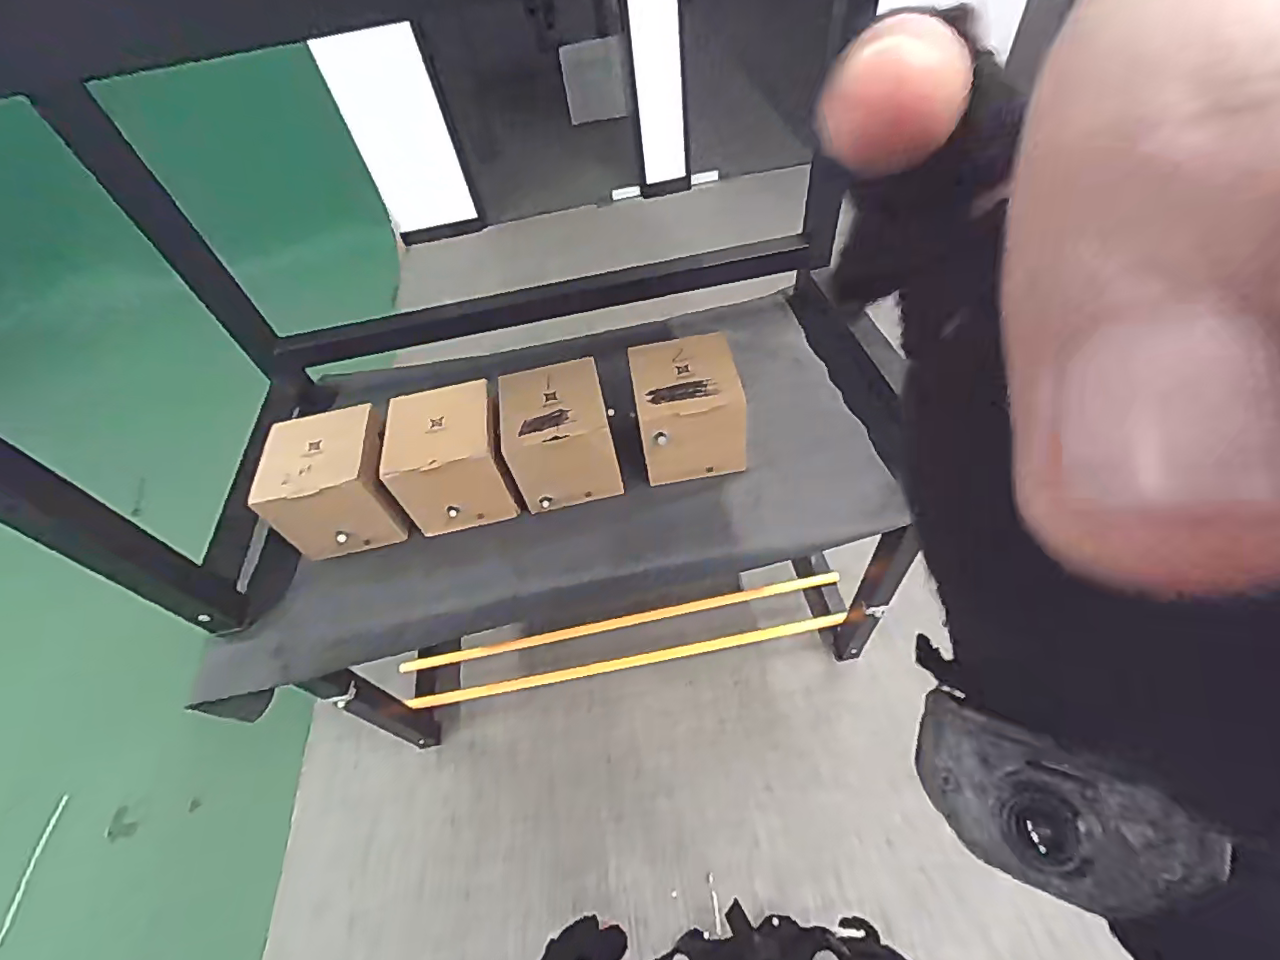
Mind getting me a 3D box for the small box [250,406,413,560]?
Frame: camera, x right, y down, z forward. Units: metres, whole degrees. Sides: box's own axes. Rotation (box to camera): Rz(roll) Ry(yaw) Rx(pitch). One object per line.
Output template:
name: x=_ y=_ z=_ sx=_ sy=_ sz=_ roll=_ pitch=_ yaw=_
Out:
small box: x=-0.499 y=0.007 z=0.908 sx=0.168 sy=0.176 sz=0.179 roll=-13 pitch=51 yaw=-2
